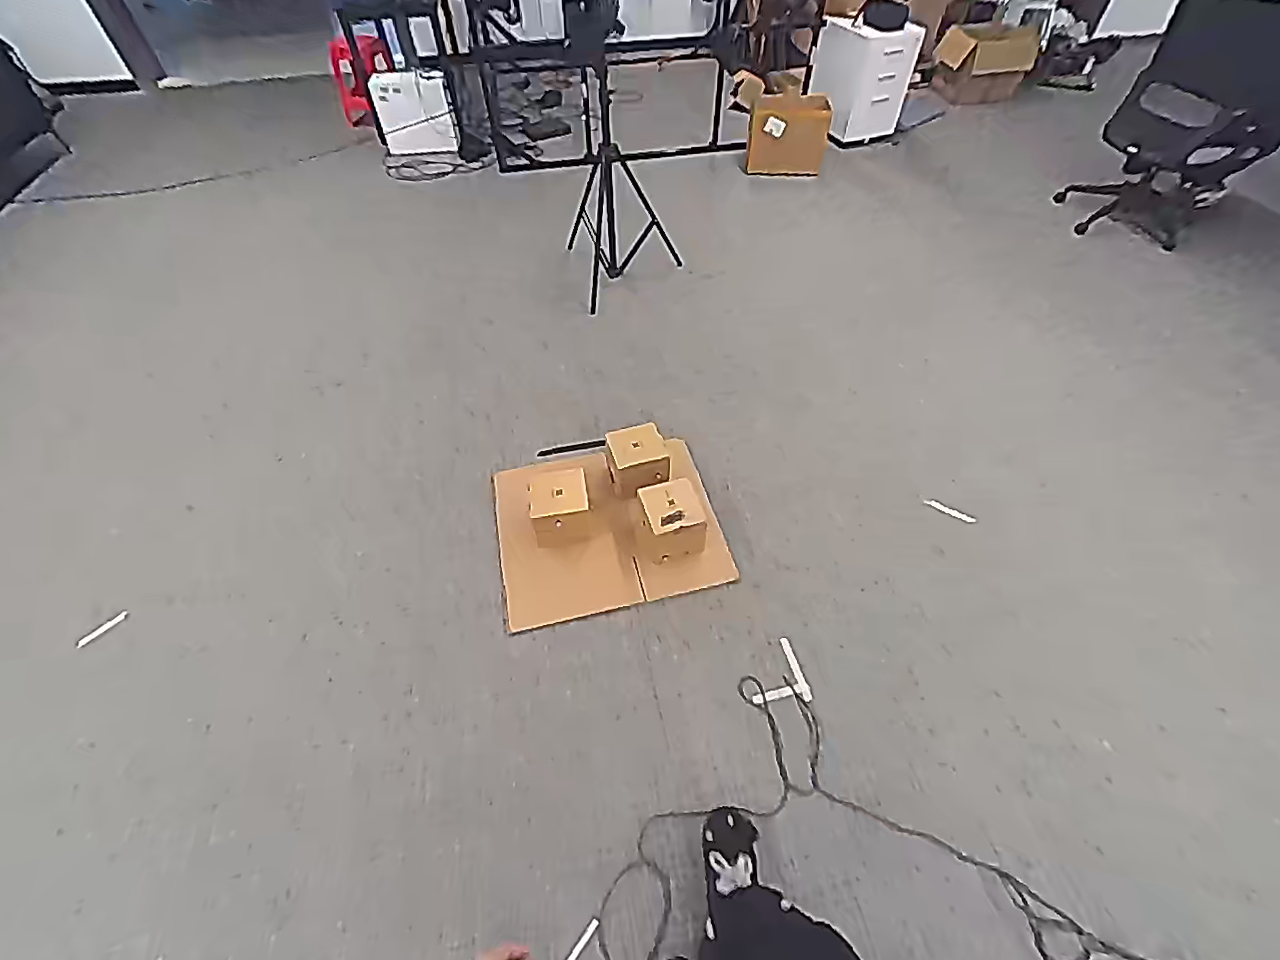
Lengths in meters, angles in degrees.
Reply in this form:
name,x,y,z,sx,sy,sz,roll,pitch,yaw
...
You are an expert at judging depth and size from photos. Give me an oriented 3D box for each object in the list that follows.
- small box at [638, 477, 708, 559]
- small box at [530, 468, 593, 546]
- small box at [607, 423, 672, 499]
name,x,y,z,sx,sy,sz,roll,pitch,yaw
small box,0.099,0.124,1.655,0.168,0.176,0.179,-14,52,-10
small box,-0.242,0.088,1.690,0.179,0.176,0.168,-9,52,-4
small box,-0.003,-0.061,1.807,0.179,0.176,0.168,-15,52,-10
